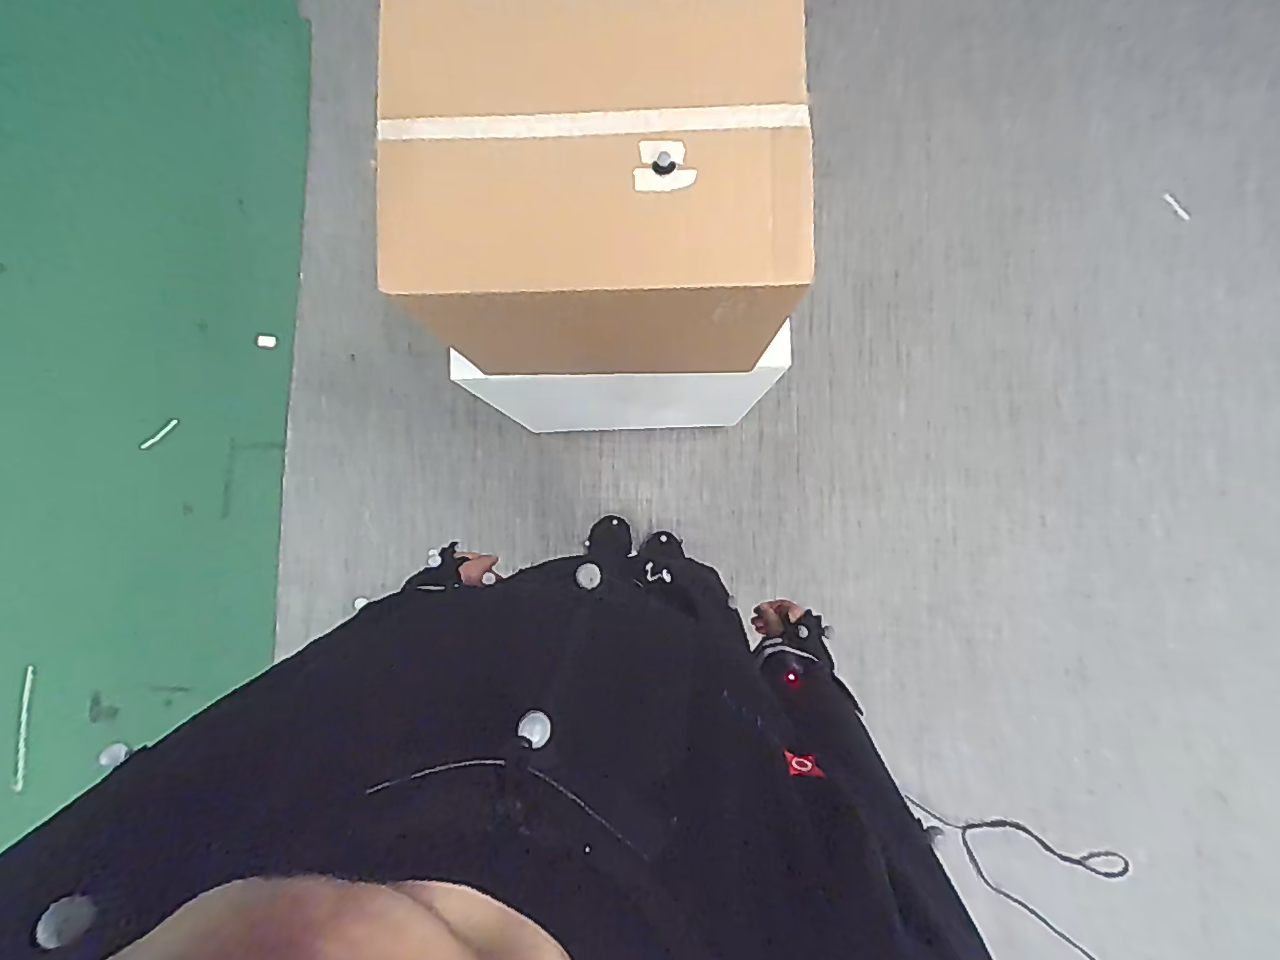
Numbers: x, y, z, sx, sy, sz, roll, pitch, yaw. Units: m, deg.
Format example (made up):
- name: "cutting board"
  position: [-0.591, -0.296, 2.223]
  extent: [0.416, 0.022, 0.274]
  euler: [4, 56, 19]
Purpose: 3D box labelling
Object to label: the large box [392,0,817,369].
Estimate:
- name: "large box"
  position: [-0.038, -0.330, 0.661]
  extent: [0.408, 0.320, 0.320]
  euler: [-1, 87, 0]
